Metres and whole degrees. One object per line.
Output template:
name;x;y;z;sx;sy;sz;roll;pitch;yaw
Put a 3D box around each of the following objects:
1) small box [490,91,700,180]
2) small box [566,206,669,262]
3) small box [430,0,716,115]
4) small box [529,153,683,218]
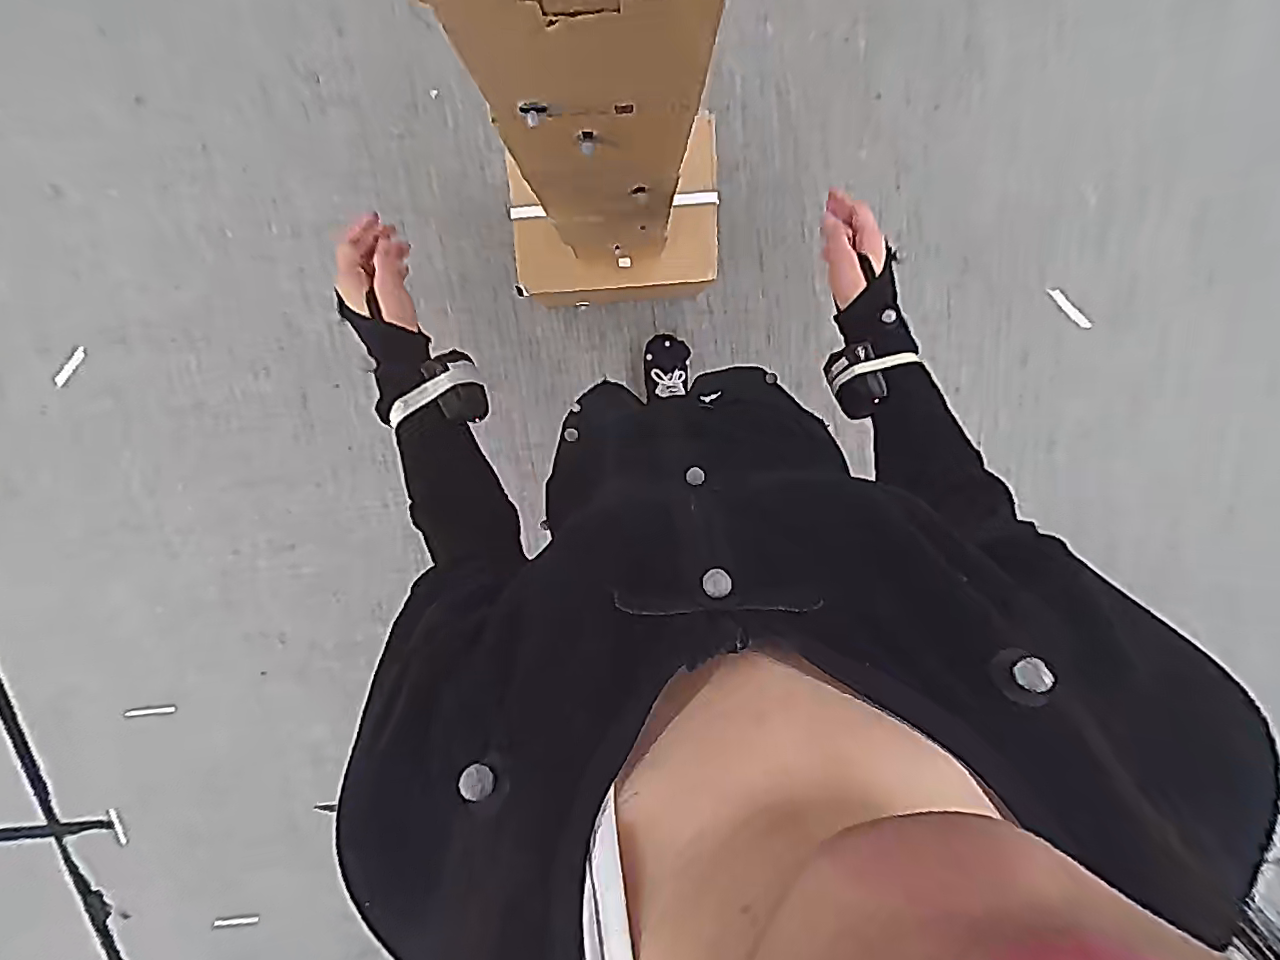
small box;-0.041;-0.398;0.511;0.179;0.176;0.168;-3;104;0
small box;-0.045;-0.504;0.989;0.179;0.176;0.168;-7;104;0
small box;-0.037;-0.362;0.350;0.168;0.176;0.179;-3;103;0
small box;-0.043;-0.433;0.669;0.179;0.176;0.168;-3;103;0
